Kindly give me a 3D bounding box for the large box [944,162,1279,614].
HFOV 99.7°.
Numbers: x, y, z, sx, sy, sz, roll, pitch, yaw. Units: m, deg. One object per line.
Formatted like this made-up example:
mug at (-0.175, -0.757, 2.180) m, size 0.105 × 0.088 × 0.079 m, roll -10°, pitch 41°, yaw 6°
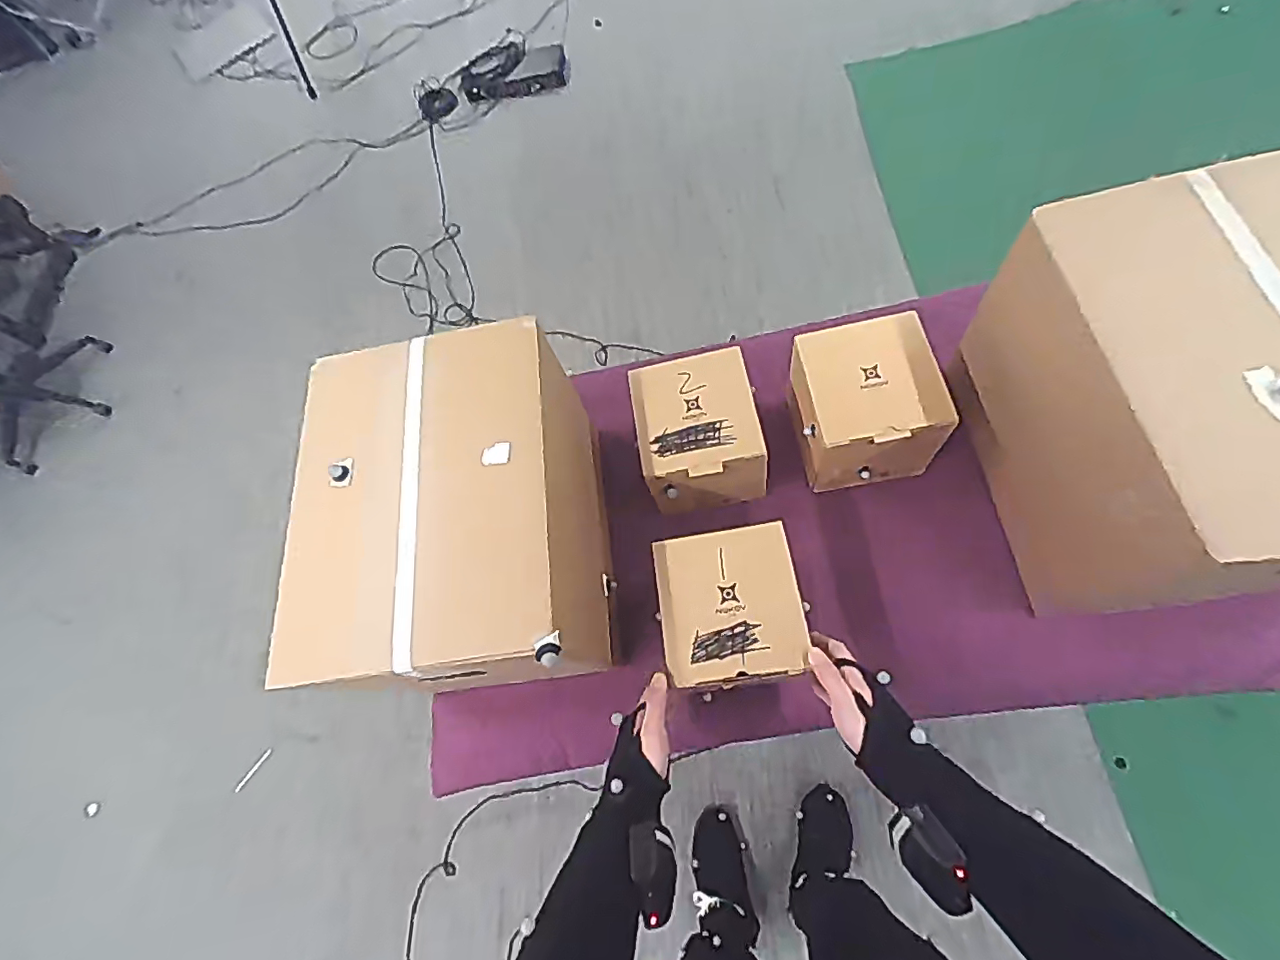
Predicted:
large box at (0.623, -0.082, 0.632) m, size 0.320 × 0.320 × 0.408 m, roll -10°, pitch 67°, yaw 8°
